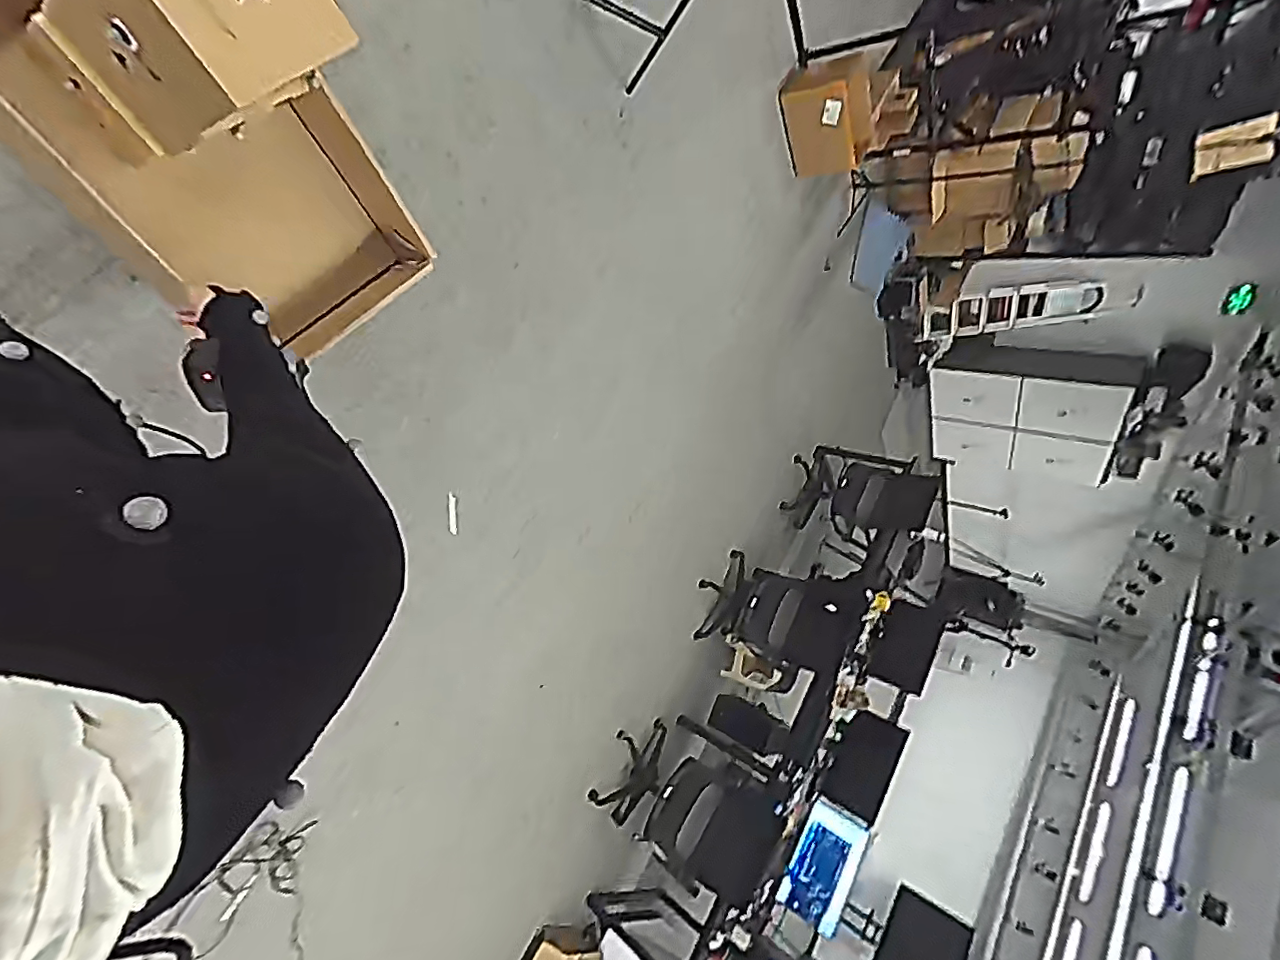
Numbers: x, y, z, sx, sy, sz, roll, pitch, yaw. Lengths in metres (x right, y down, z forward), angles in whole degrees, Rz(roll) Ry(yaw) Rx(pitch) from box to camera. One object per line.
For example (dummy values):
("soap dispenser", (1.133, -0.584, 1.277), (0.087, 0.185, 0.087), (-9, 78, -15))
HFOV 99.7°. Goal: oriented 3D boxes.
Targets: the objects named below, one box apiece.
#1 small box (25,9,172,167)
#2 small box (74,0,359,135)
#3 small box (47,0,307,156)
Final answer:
("small box", (-0.718, -0.581, 0.782), (0.179, 0.176, 0.168), (-54, 140, -25))
("small box", (-0.462, -0.511, 0.589), (0.179, 0.176, 0.168), (-55, 139, -24))
("small box", (-0.586, -0.546, 0.690), (0.168, 0.176, 0.179), (-53, 139, -26))
